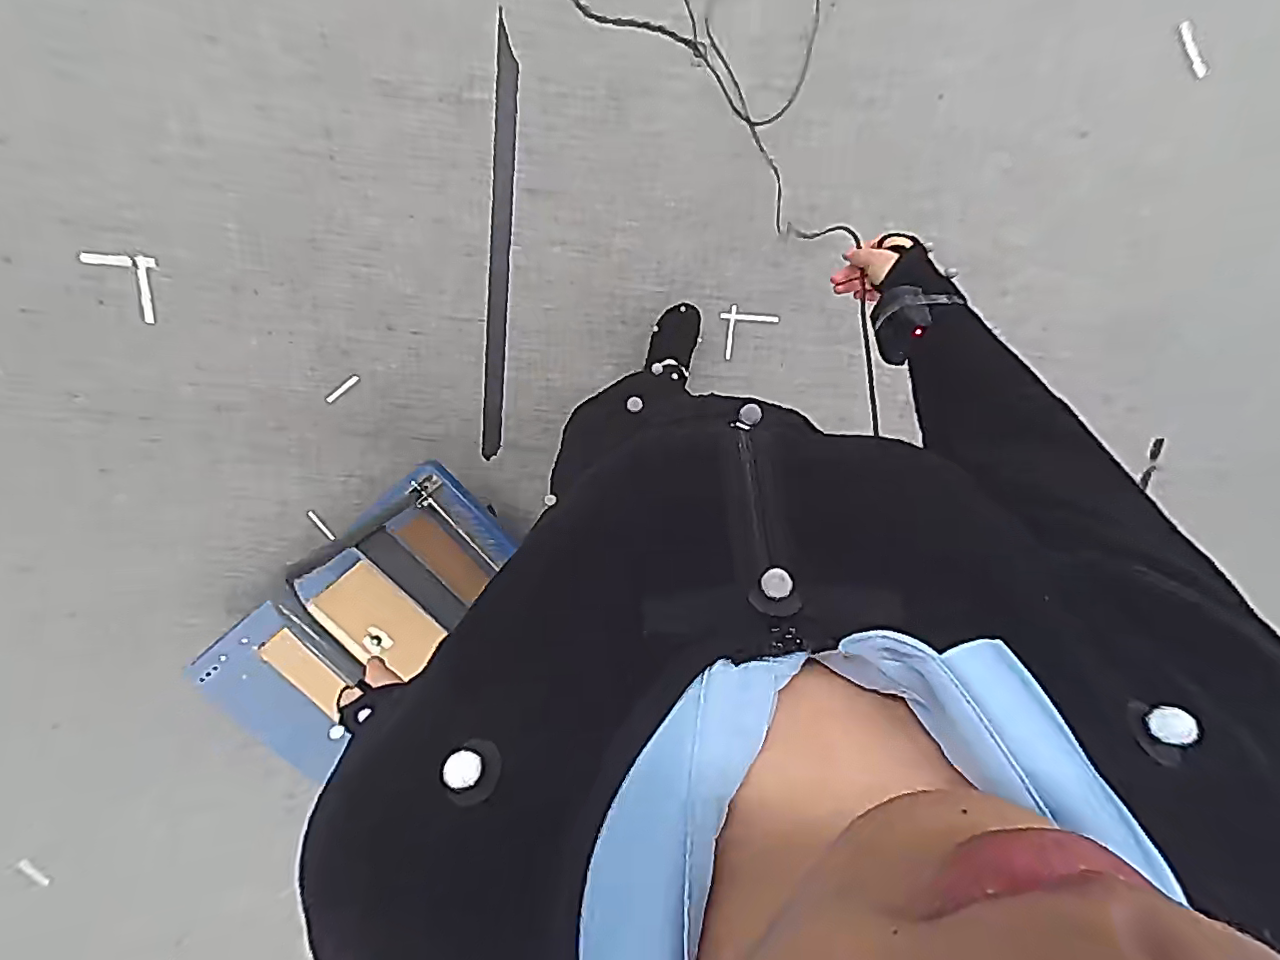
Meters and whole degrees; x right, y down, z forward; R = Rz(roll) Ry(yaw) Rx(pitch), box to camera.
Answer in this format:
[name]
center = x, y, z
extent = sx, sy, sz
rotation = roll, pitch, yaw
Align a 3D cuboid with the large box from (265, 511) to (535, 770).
[large box]
center = -0.504, 0.345, 1.233
extent = 0.320, 0.320, 0.408
rotation = -39, 101, 6
